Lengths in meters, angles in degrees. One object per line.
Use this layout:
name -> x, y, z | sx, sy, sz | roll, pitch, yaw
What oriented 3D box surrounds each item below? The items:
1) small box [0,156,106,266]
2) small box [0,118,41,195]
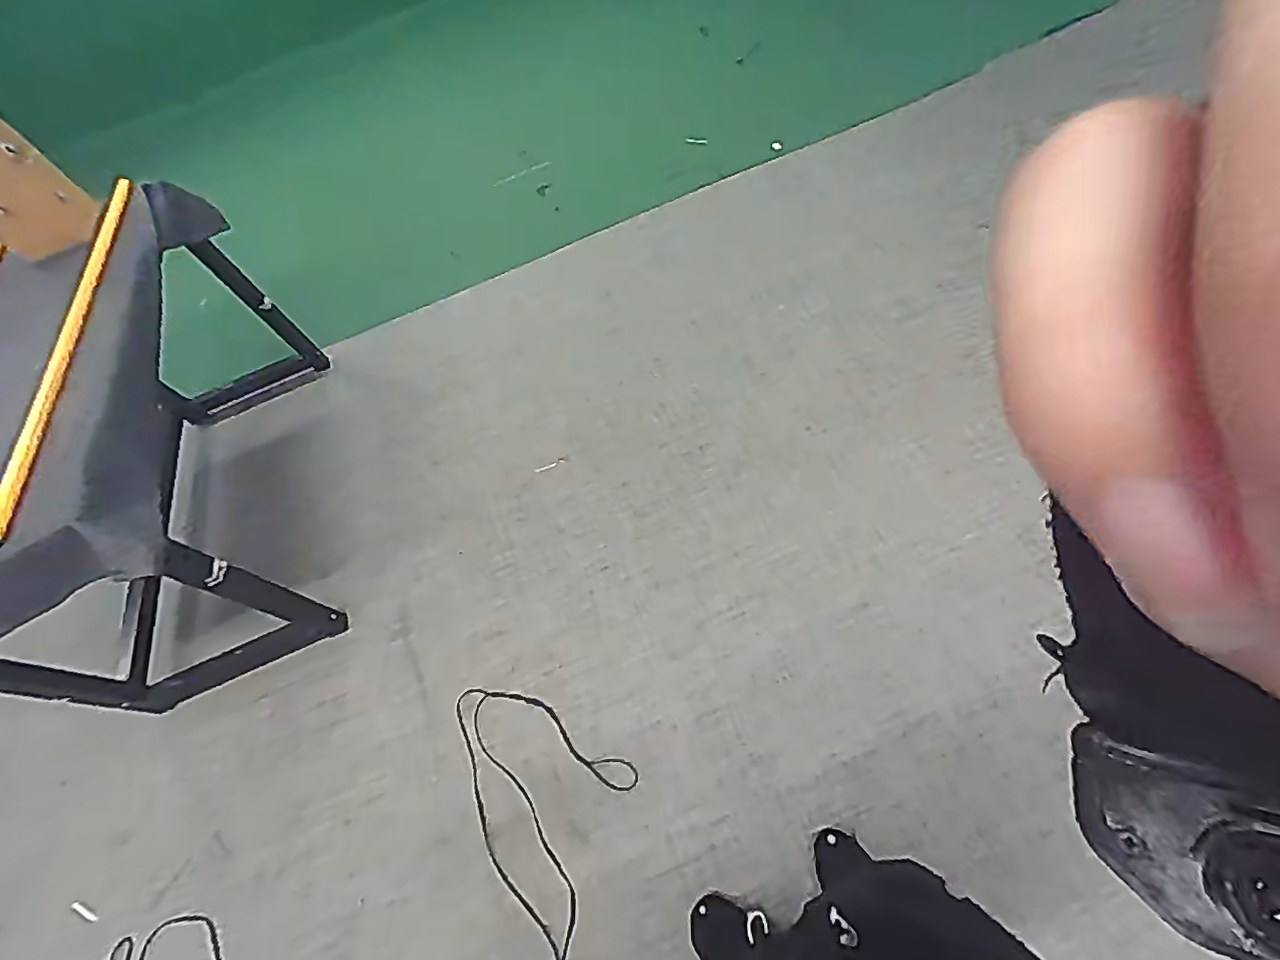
small box -> -1.566, -0.698, 1.412 | 0.179, 0.176, 0.168 | -23, 58, 0
small box -> -1.603, -0.781, 1.278 | 0.179, 0.176, 0.168 | -24, 59, -2
